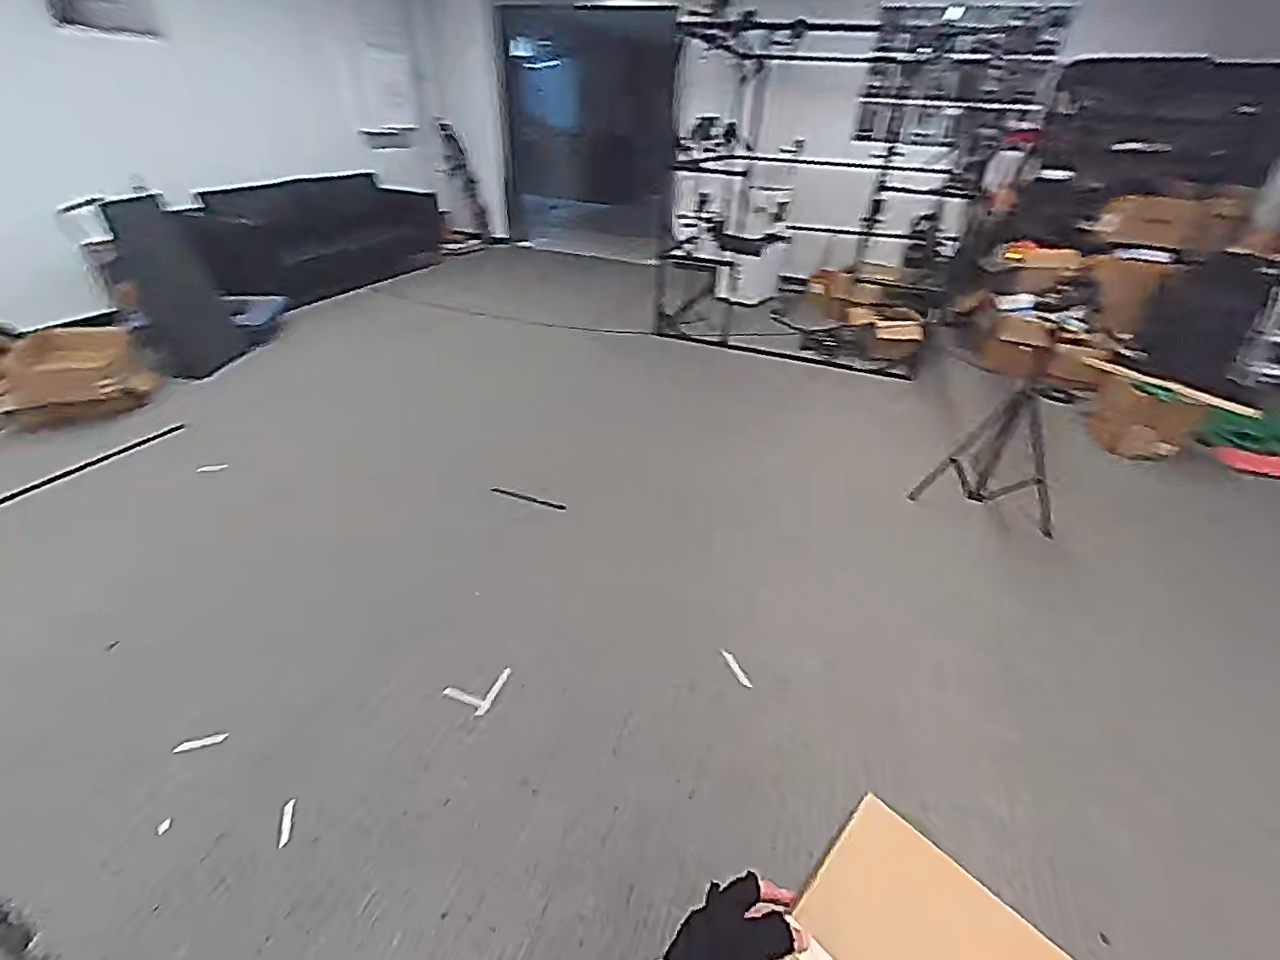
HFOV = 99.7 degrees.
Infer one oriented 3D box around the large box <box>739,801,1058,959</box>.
[{"bbox_3d":[0.260,0.604,0.479,0.408,0.320,0.320,33,50,31],"label":"large box"}]
